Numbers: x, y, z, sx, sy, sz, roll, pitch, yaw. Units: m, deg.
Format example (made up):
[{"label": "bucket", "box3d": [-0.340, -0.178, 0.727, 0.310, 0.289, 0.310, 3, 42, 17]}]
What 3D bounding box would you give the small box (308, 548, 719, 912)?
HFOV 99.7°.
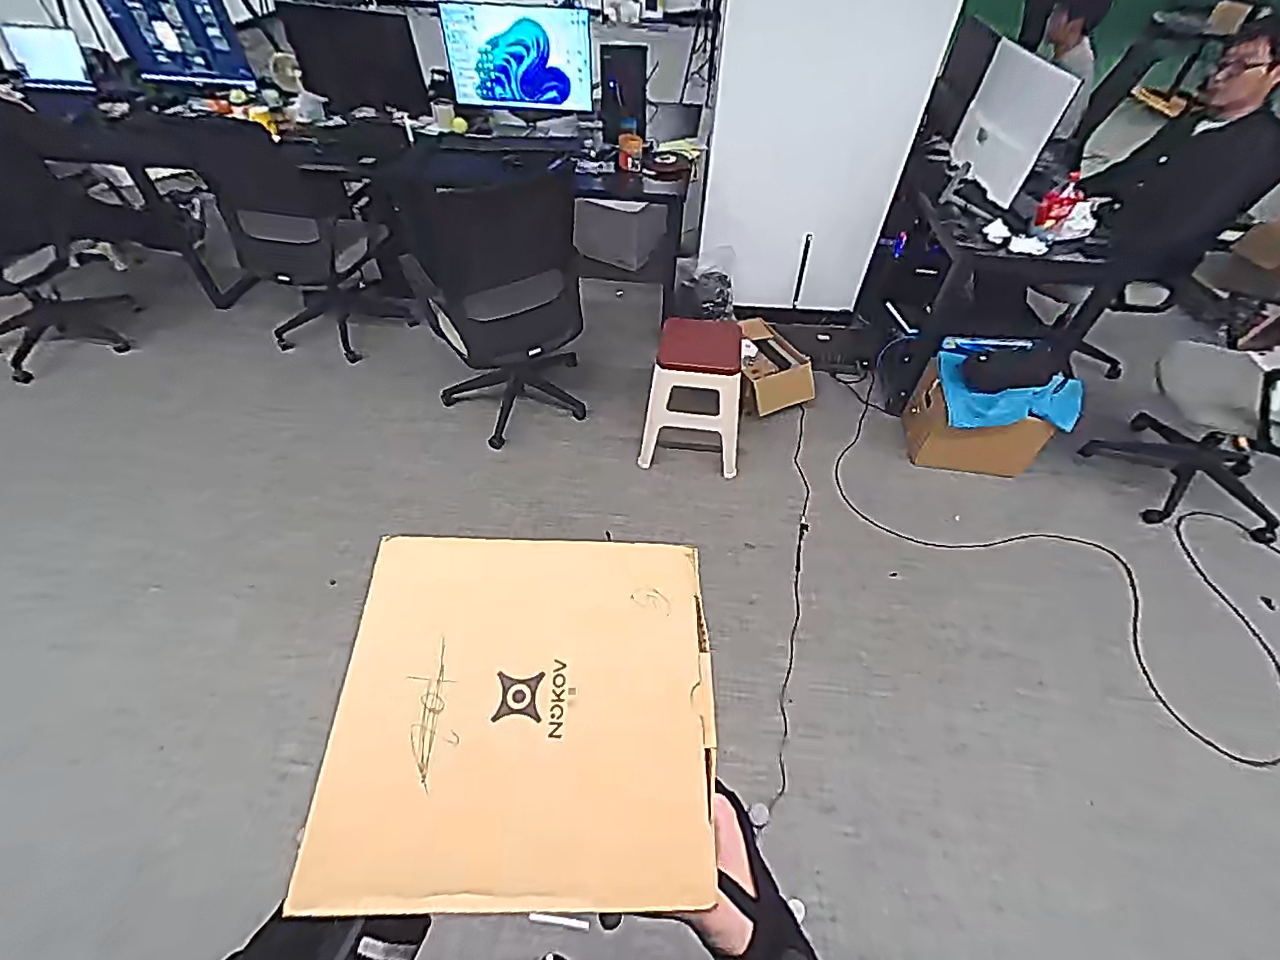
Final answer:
[{"label": "small box", "box3d": [-0.057, 0.154, 0.337, 0.179, 0.176, 0.168, 1, 57, -3]}]
